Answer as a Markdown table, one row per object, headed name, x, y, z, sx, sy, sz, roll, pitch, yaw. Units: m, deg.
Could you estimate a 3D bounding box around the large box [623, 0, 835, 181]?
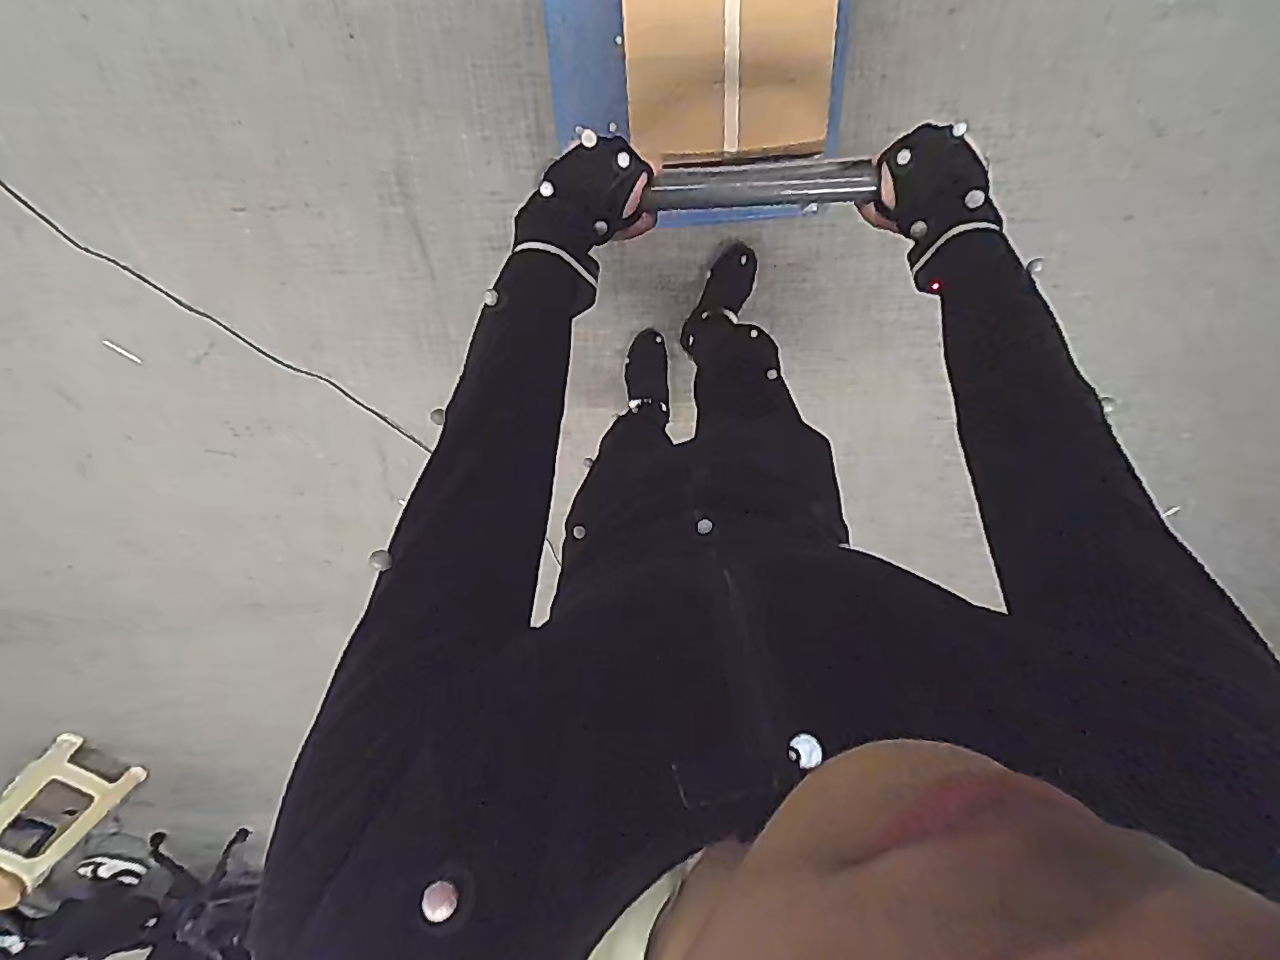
| name | x | y | z | sx | sy | sz | roll | pitch | yaw |
| --- | --- | --- | --- | --- | --- | --- | --- | --- | --- |
| large box | 0.134 | -0.759 | 0.923 | 0.320 | 0.320 | 0.408 | -3 | 116 | 2 |
